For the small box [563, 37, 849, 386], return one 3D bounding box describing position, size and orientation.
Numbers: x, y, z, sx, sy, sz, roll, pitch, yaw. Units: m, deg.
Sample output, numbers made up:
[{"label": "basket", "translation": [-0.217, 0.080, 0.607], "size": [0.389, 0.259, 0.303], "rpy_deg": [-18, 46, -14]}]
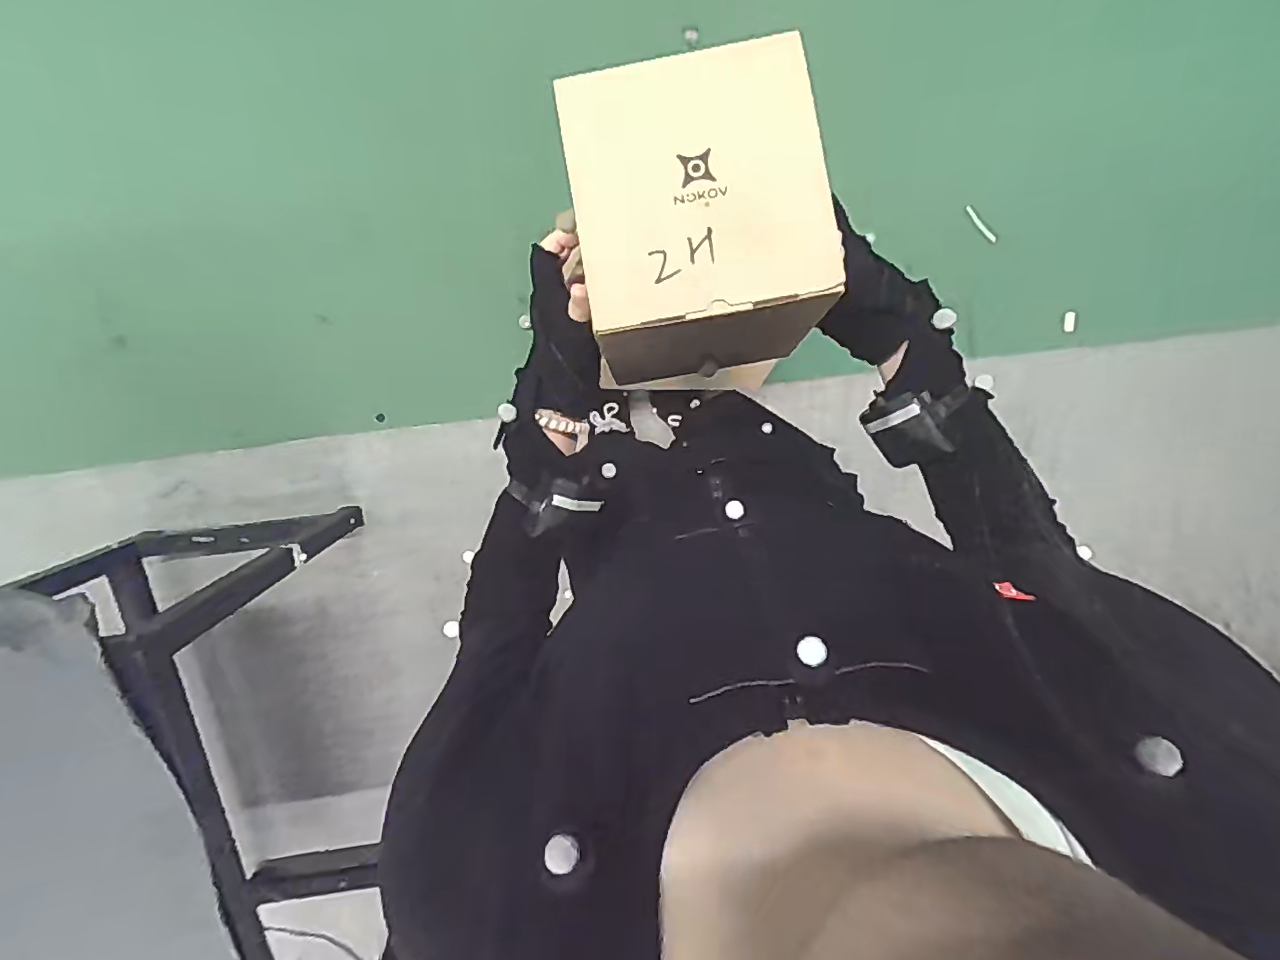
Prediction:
[{"label": "small box", "translation": [0.043, -0.187, 0.429], "size": [0.168, 0.176, 0.179], "rpy_deg": [-10, 88, 2]}]
